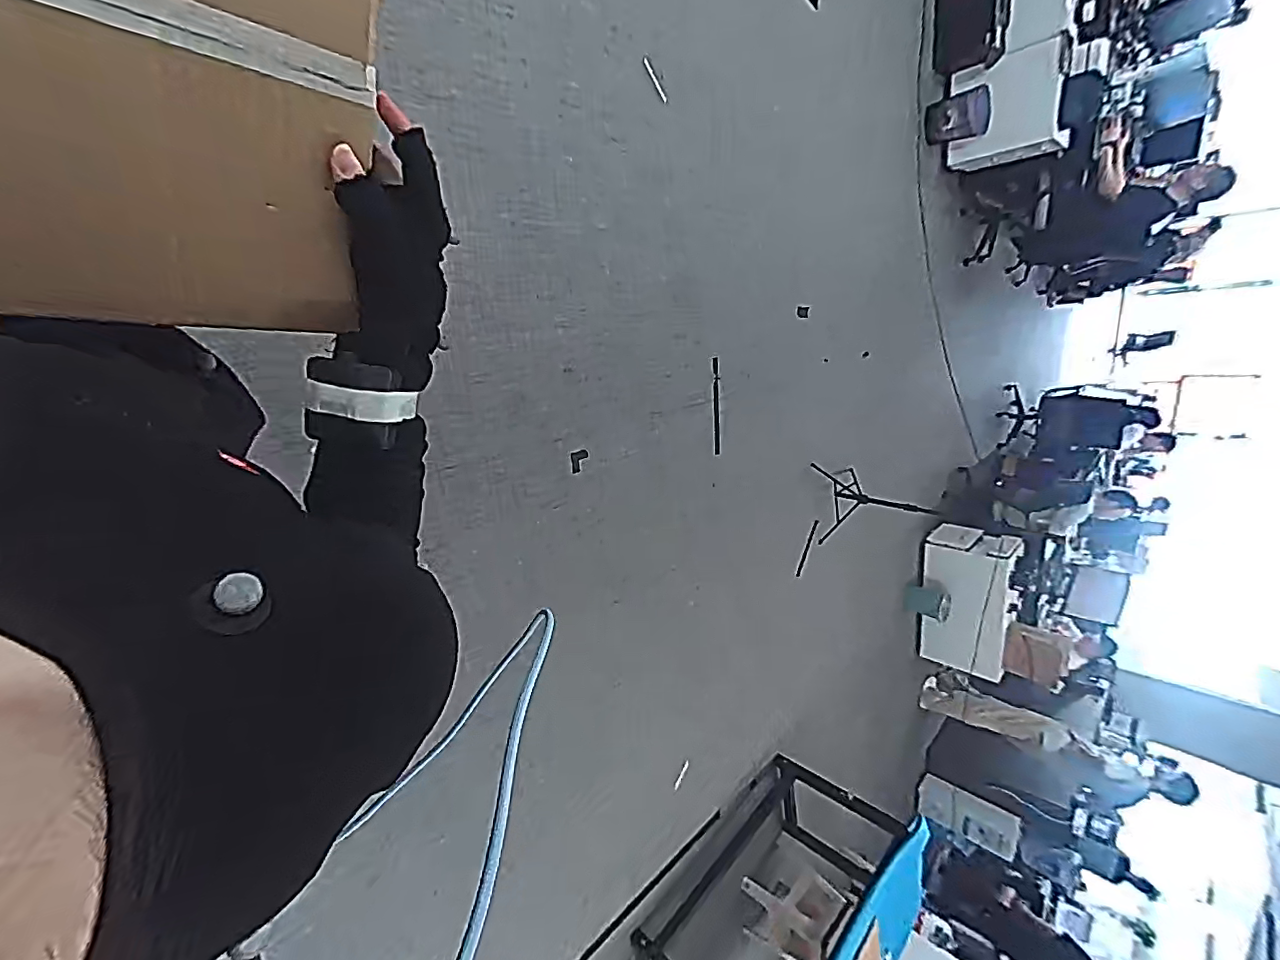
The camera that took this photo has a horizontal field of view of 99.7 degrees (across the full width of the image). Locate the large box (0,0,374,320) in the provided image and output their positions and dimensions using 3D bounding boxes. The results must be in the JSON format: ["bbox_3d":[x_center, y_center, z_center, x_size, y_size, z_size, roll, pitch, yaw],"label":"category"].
[{"bbox_3d":[-0.404,-0.300,0.284,0.408,0.320,0.320,-10,133,-42],"label":"large box"}]
